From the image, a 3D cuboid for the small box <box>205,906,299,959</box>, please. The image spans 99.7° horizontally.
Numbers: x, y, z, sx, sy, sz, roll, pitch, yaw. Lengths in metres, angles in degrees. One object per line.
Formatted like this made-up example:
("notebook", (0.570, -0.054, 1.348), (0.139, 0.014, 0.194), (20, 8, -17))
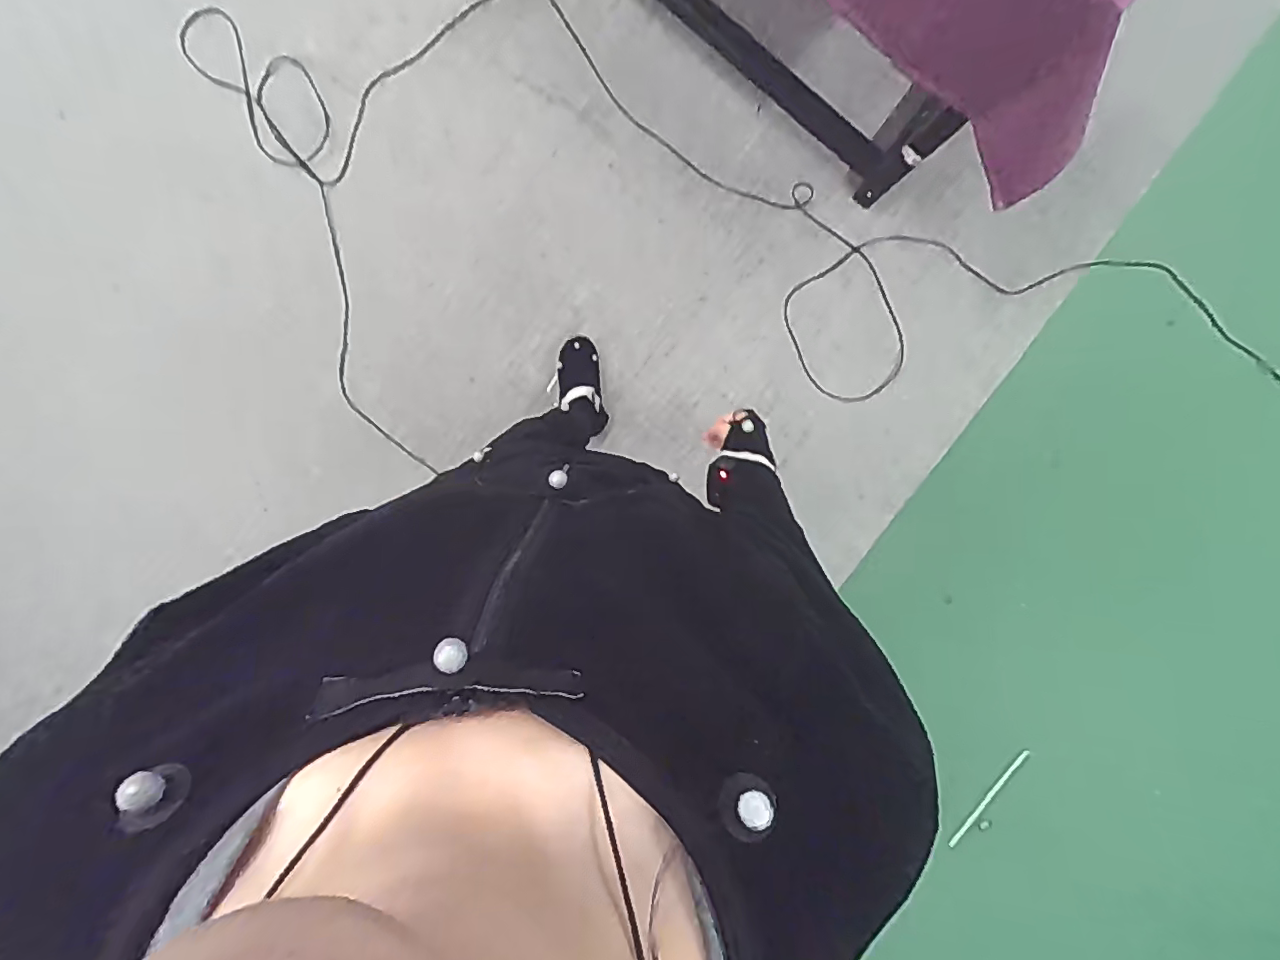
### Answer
("small box", (-0.947, 1.166, 1.262), (0.168, 0.176, 0.179), (36, 92, -7))
